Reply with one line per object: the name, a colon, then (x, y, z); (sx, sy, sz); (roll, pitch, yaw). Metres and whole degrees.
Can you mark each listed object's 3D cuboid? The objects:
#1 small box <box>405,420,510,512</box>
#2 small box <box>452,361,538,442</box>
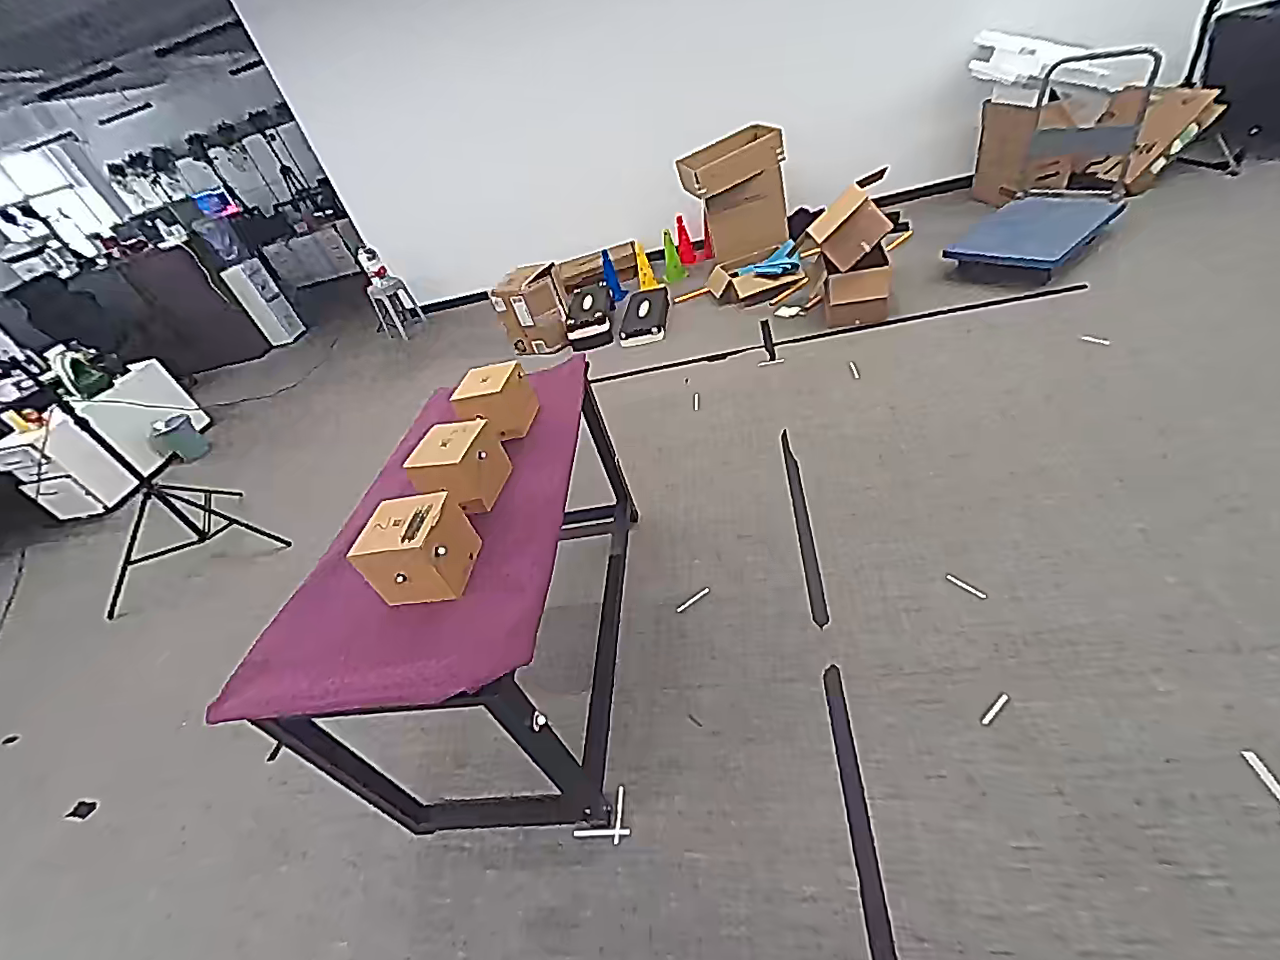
small box: (-0.457, -0.030, 1.388); (0.168, 0.176, 0.179); (-3, 40, 18)
small box: (-0.423, -0.226, 1.612); (0.168, 0.176, 0.179); (-7, 39, 16)
